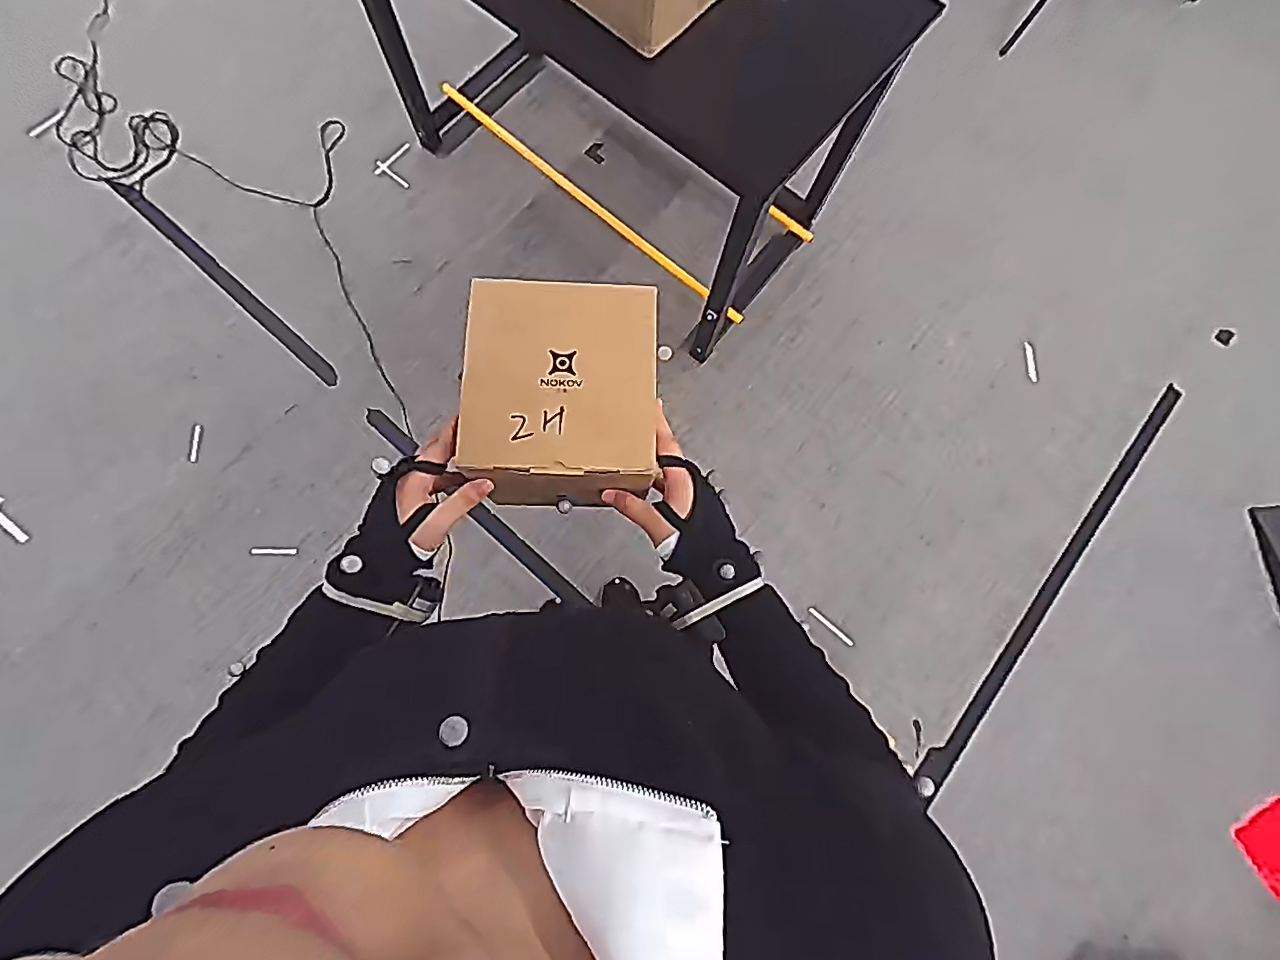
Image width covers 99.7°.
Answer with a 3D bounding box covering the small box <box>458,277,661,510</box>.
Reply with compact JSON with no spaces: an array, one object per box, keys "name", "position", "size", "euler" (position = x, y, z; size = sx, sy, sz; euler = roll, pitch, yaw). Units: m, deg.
[{"name":"small box","position":[-0.070,-0.074,0.537],"size":[0.168,0.176,0.179],"euler":[1,76,-3]}]
